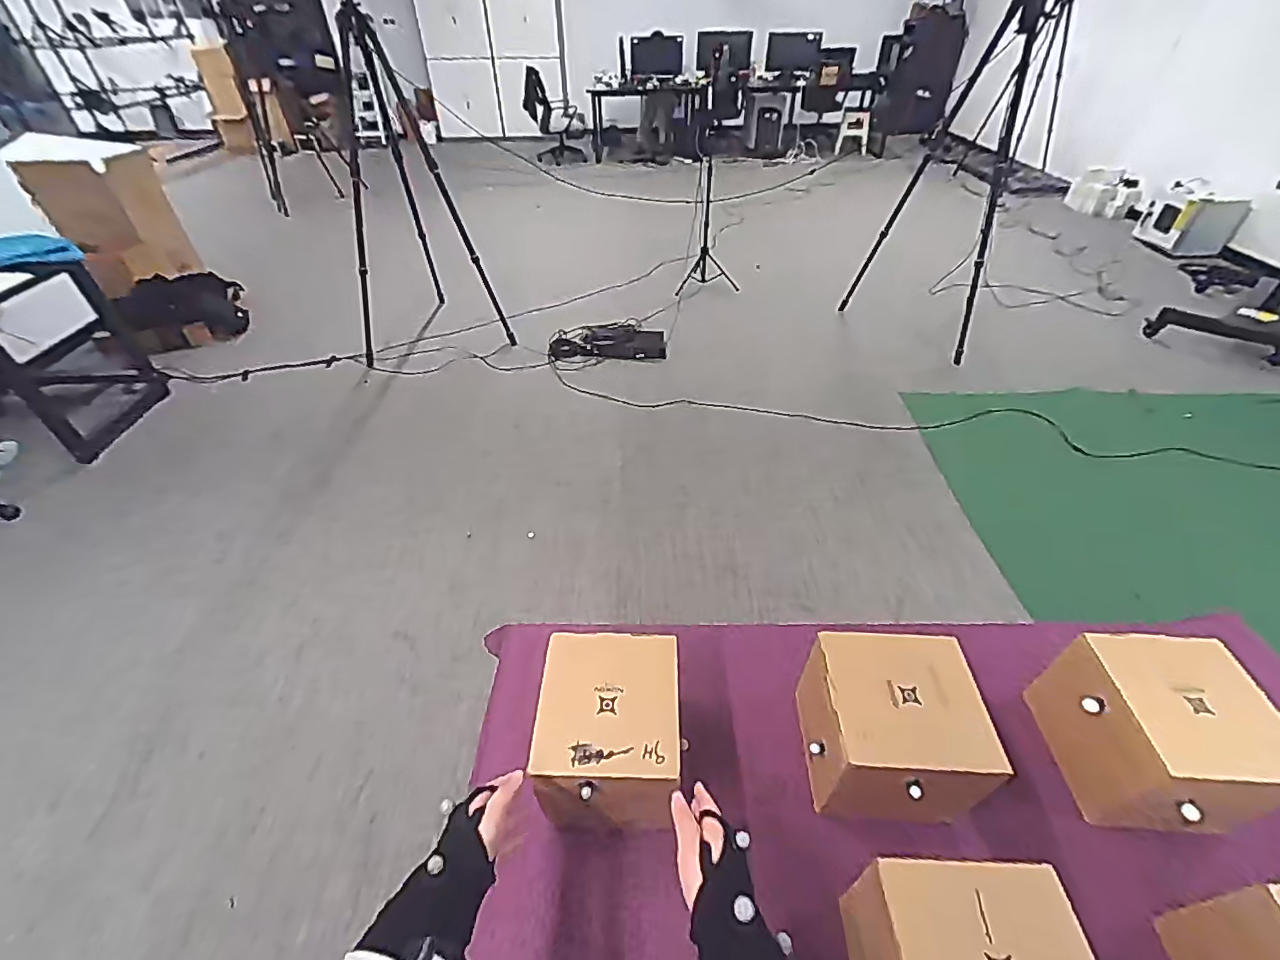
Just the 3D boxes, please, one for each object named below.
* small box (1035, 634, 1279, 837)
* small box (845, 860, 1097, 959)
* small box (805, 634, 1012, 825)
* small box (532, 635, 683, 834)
[{"bbox_3d":[0.641,0.315,0.667,0.168,0.176,0.179,1,40,5],"label":"small box"},{"bbox_3d":[0.303,0.477,0.493,0.168,0.176,0.179,1,40,3],"label":"small box"},{"bbox_3d":[0.314,0.314,0.682,0.179,0.176,0.168,2,42,4],"label":"small box"},{"bbox_3d":[-0.032,0.321,0.688,0.168,0.176,0.179,0,41,2],"label":"small box"}]
